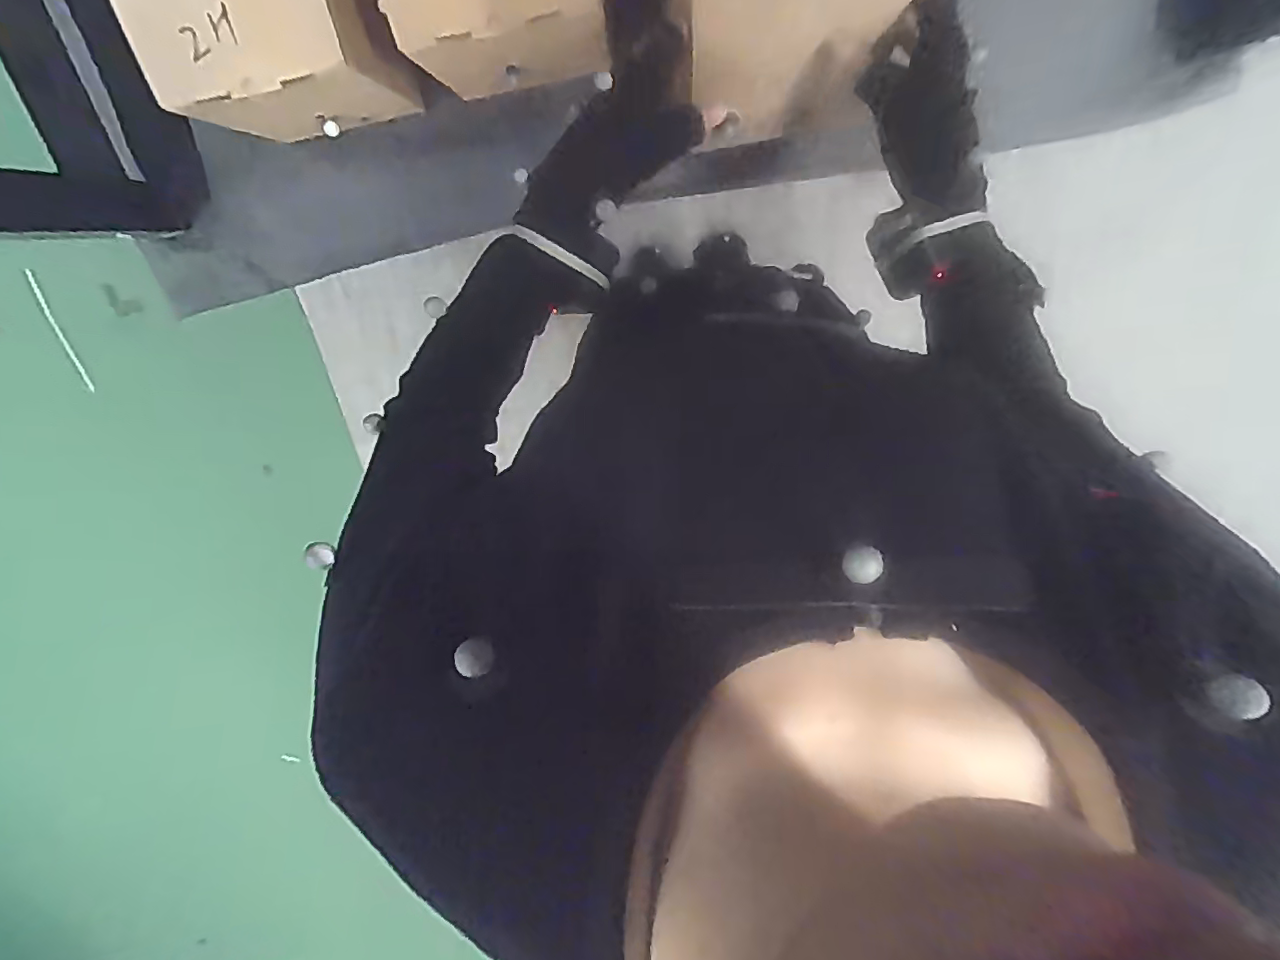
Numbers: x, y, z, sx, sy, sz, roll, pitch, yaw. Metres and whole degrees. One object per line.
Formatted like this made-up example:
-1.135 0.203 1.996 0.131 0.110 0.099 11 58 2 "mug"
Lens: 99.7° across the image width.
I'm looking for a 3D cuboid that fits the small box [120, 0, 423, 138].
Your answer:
-0.322 -0.431 0.478 0.168 0.176 0.179 -9 114 5 "small box"
